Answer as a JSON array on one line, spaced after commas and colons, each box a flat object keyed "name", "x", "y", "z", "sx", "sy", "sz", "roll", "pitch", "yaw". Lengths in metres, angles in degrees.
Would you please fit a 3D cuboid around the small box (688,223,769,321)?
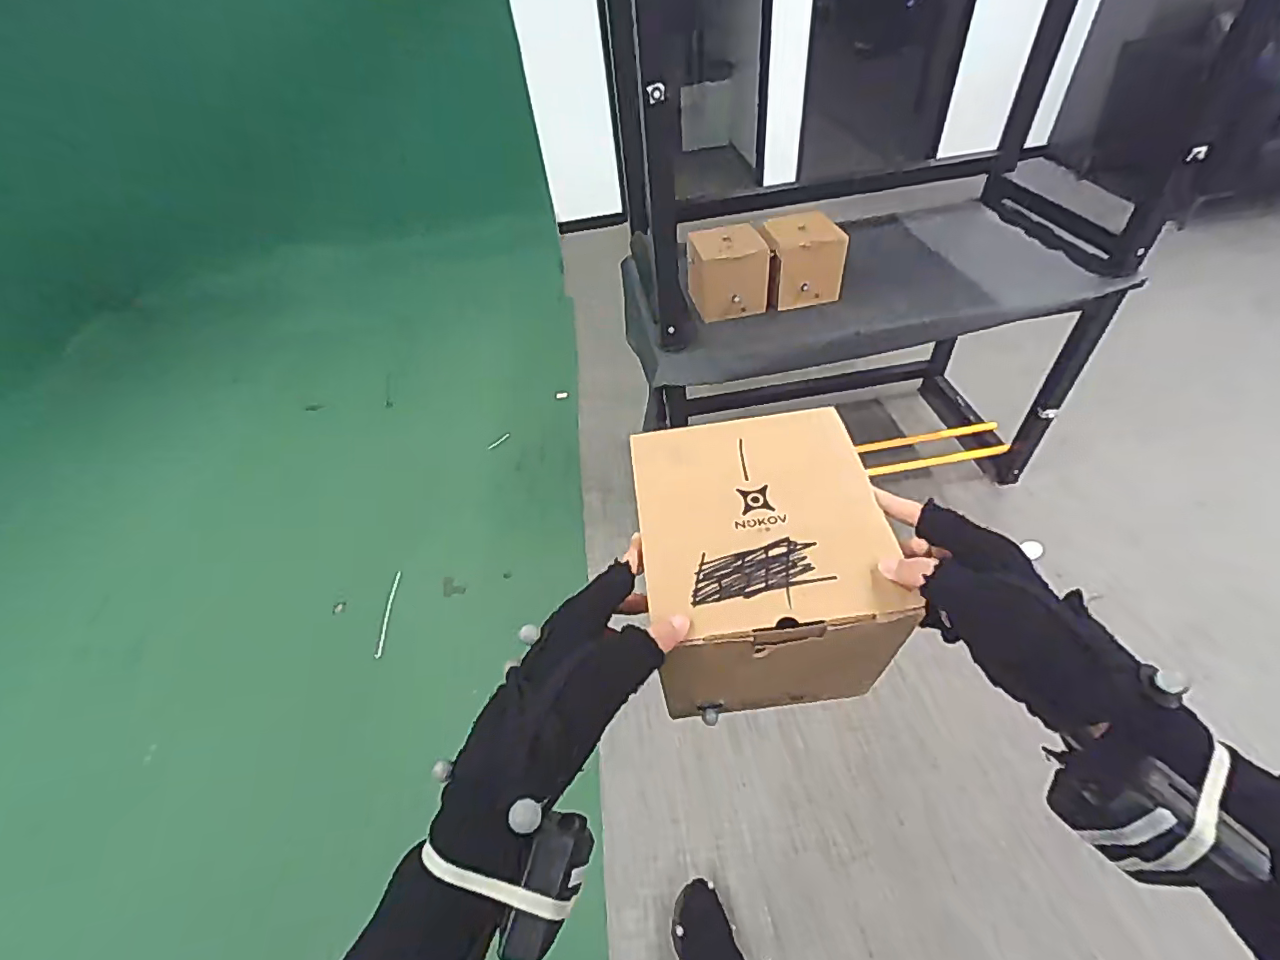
[{"name": "small box", "x": 0.222, "y": -0.533, "z": 1.391, "sx": 0.168, "sy": 0.176, "sz": 0.179, "roll": -11, "pitch": 46, "yaw": -2}]

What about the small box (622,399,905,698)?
[{"name": "small box", "x": 0.082, "y": 0.064, "z": 0.436, "sx": 0.168, "sy": 0.176, "sz": 0.179, "roll": -8, "pitch": 51, "yaw": 2}]
